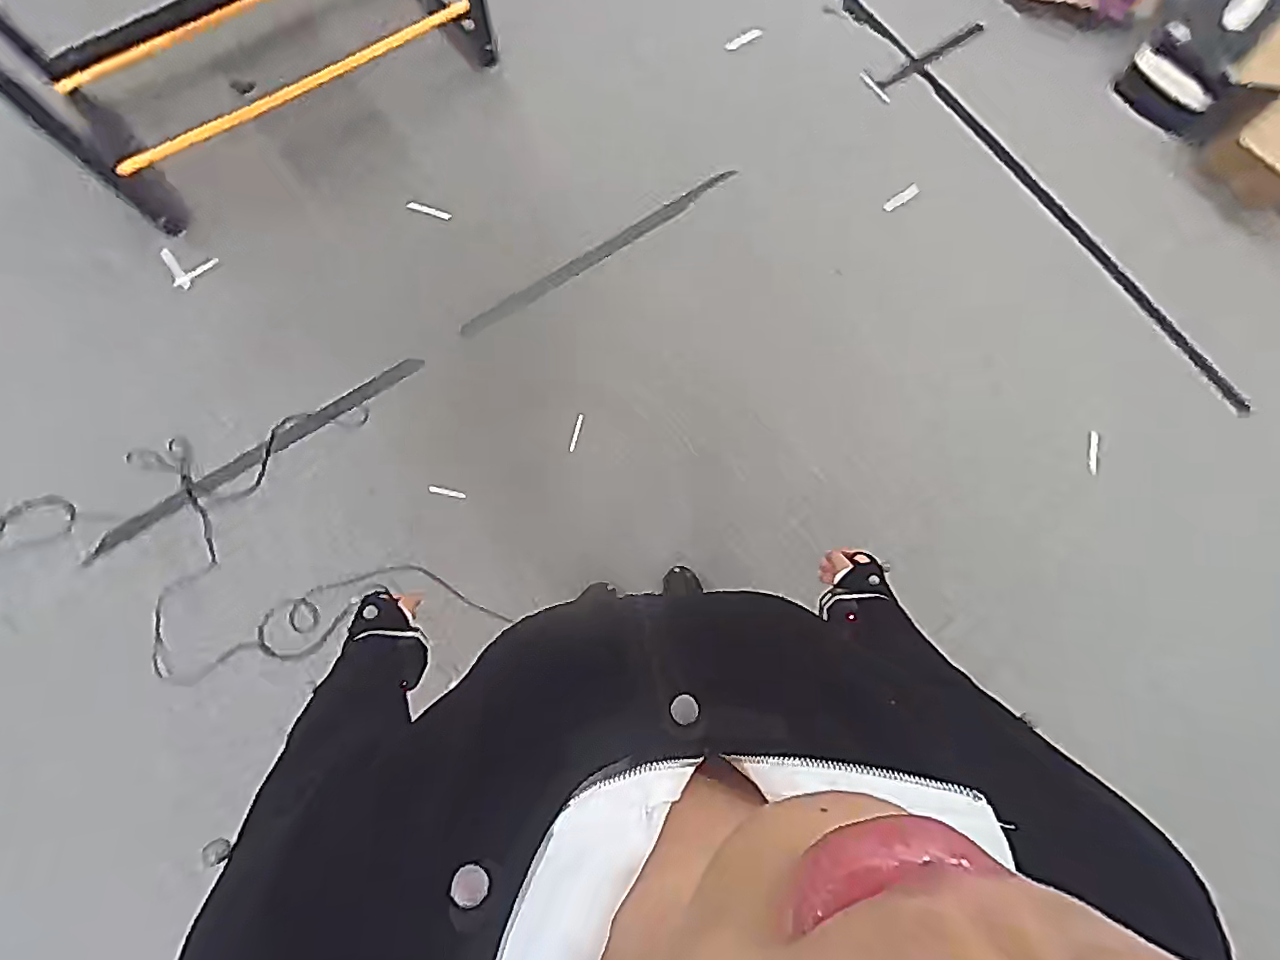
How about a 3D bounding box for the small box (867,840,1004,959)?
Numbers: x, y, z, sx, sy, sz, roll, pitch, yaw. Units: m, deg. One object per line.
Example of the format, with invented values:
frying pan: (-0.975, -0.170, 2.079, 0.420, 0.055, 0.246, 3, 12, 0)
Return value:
small box: (0.505, 0.726, 0.857, 0.168, 0.176, 0.179, -34, 80, -12)
